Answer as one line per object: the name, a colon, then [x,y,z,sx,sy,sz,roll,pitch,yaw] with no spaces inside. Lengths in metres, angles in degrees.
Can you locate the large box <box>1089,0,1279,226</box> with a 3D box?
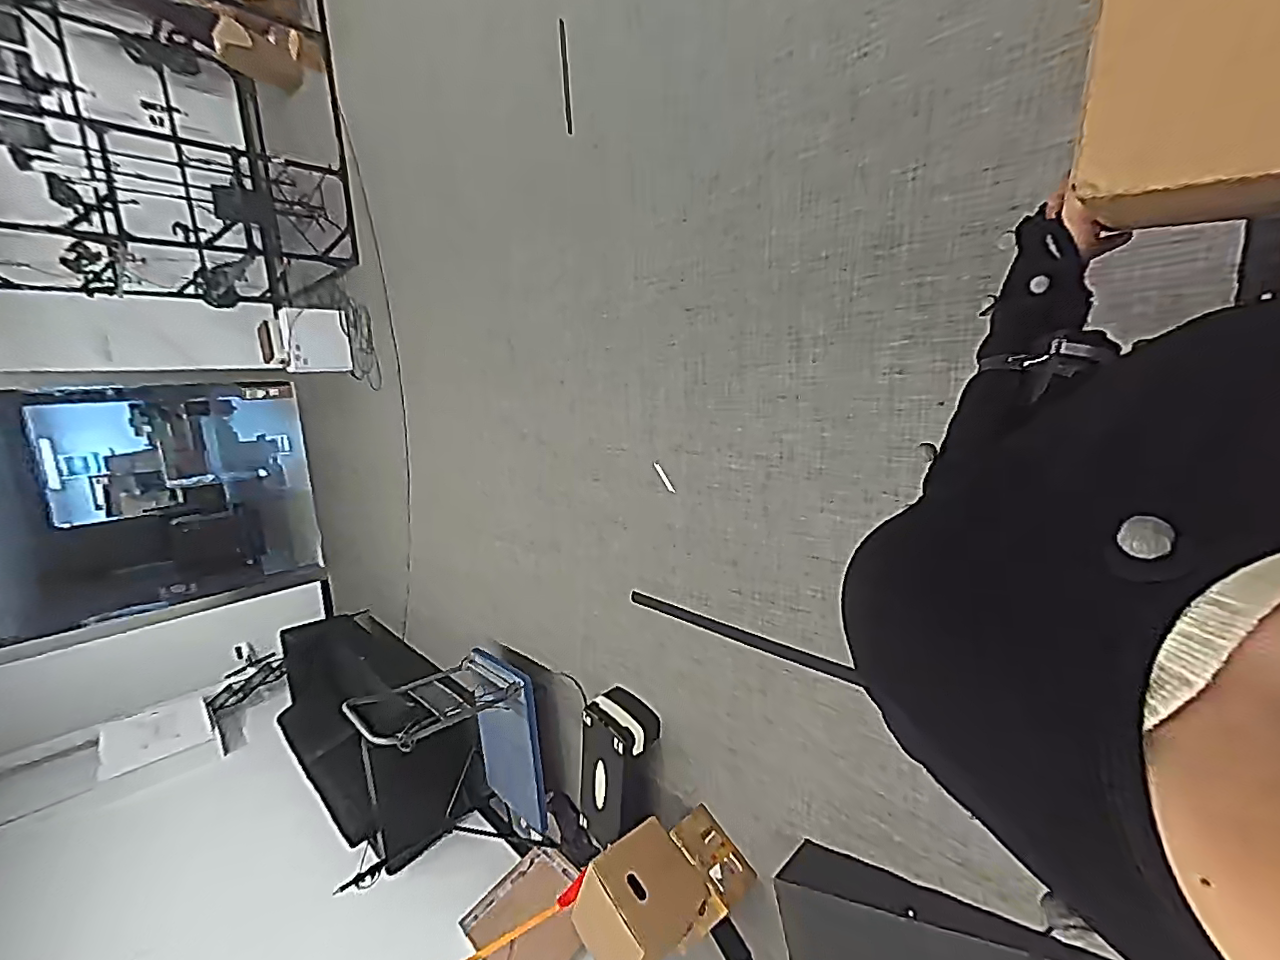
large box: [0.439,-0.295,0.189,0.408,0.320,0.320,11,114,39]
